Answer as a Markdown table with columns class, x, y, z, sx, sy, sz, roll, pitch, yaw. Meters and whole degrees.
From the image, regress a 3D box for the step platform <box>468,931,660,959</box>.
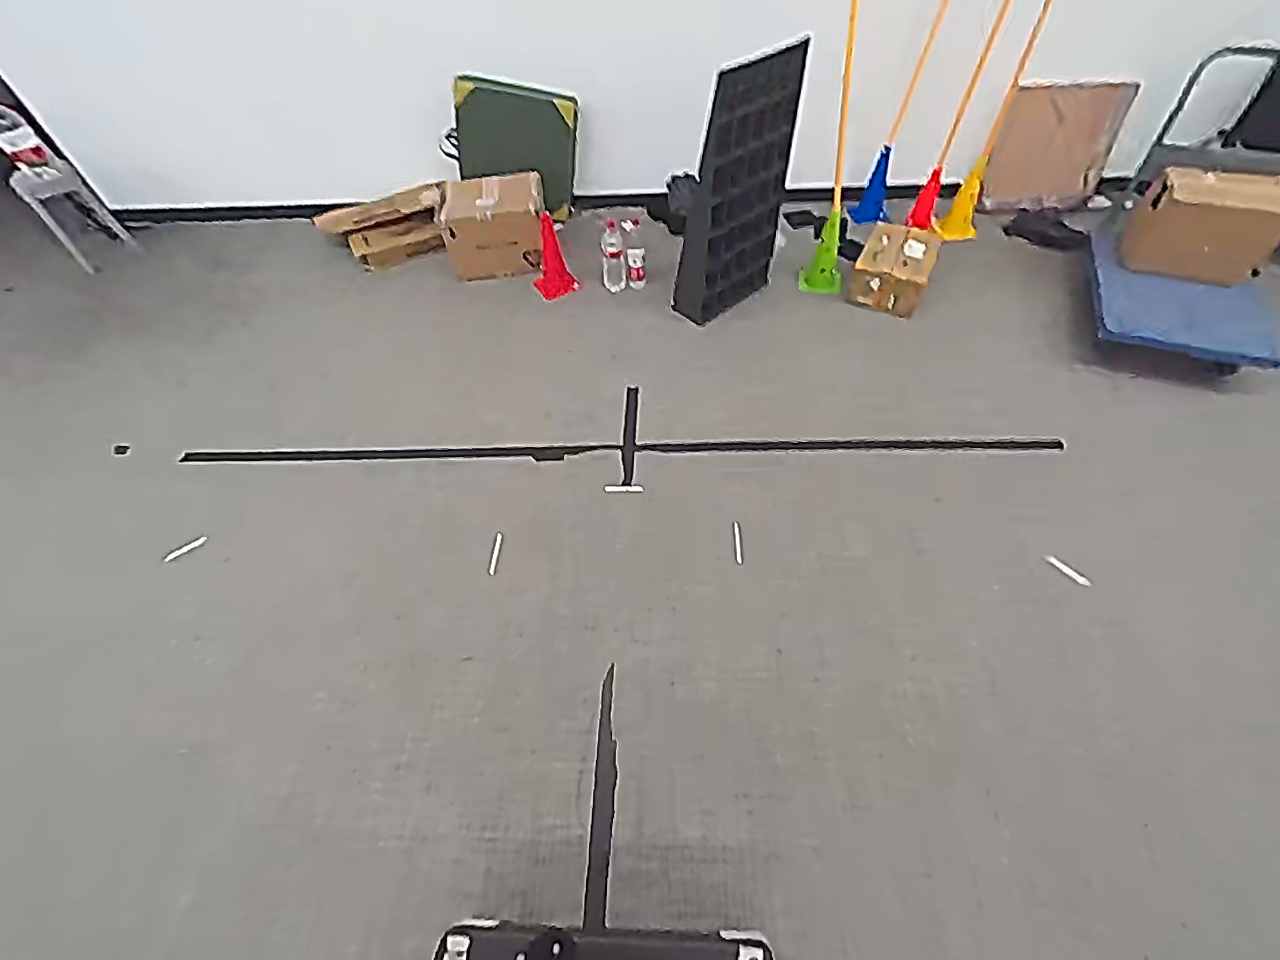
| class | x | y | z | sx | sy | sz | roll | pitch | yaw |
| --- | --- | --- | --- | --- | --- | --- | --- | --- | --- |
| step platform | -0.023 | 1.069 | 1.007 | 0.684 | 0.204 | 0.286 | 4 | 51 | 5 |
